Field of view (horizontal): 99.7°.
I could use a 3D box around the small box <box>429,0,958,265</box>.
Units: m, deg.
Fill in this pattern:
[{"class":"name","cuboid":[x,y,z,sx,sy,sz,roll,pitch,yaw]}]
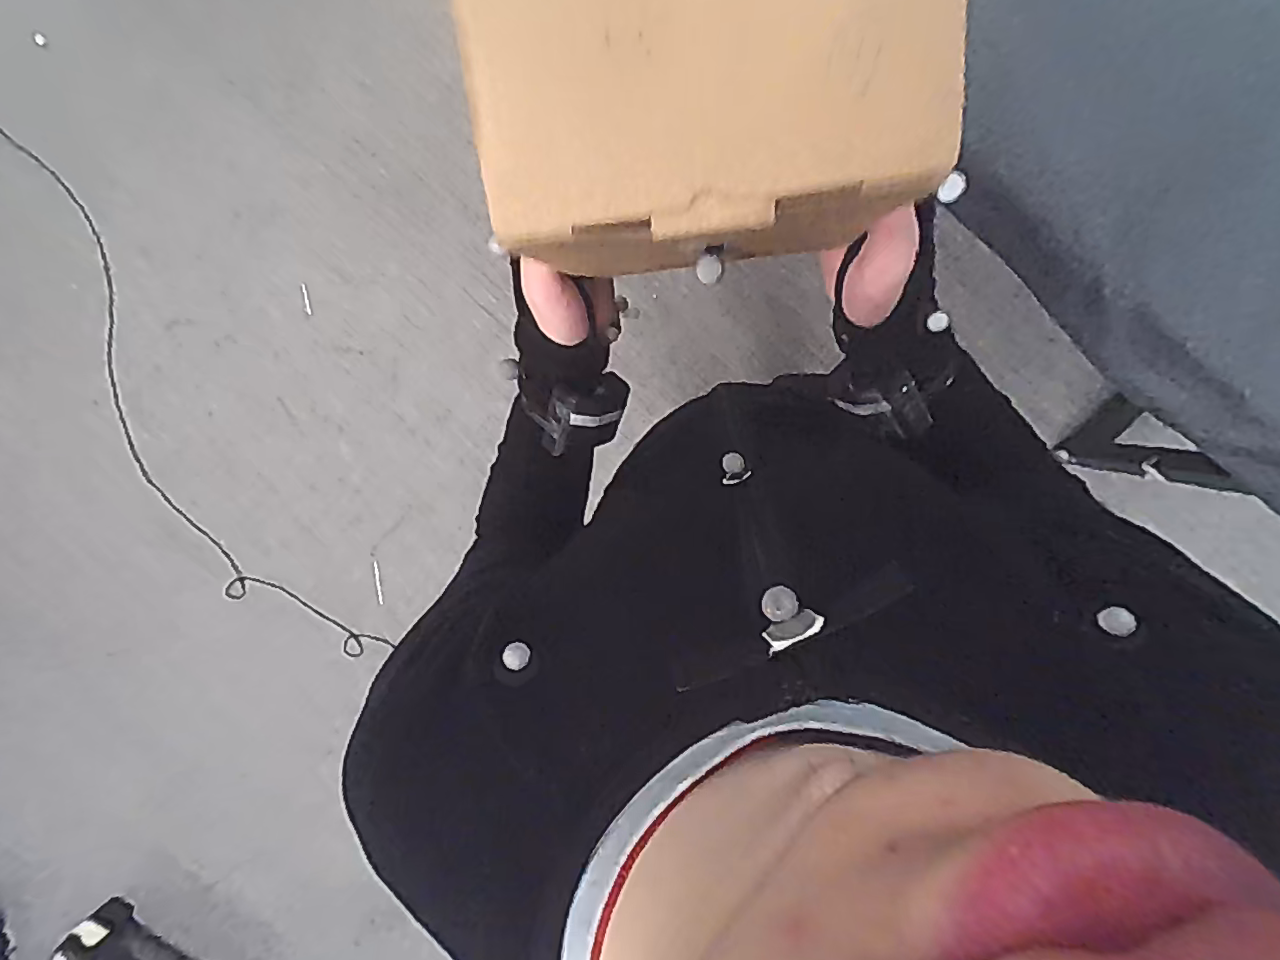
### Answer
[{"class":"small box","cuboid":[0.019,-0.194,0.237,0.168,0.176,0.179,-4,108,7]}]
